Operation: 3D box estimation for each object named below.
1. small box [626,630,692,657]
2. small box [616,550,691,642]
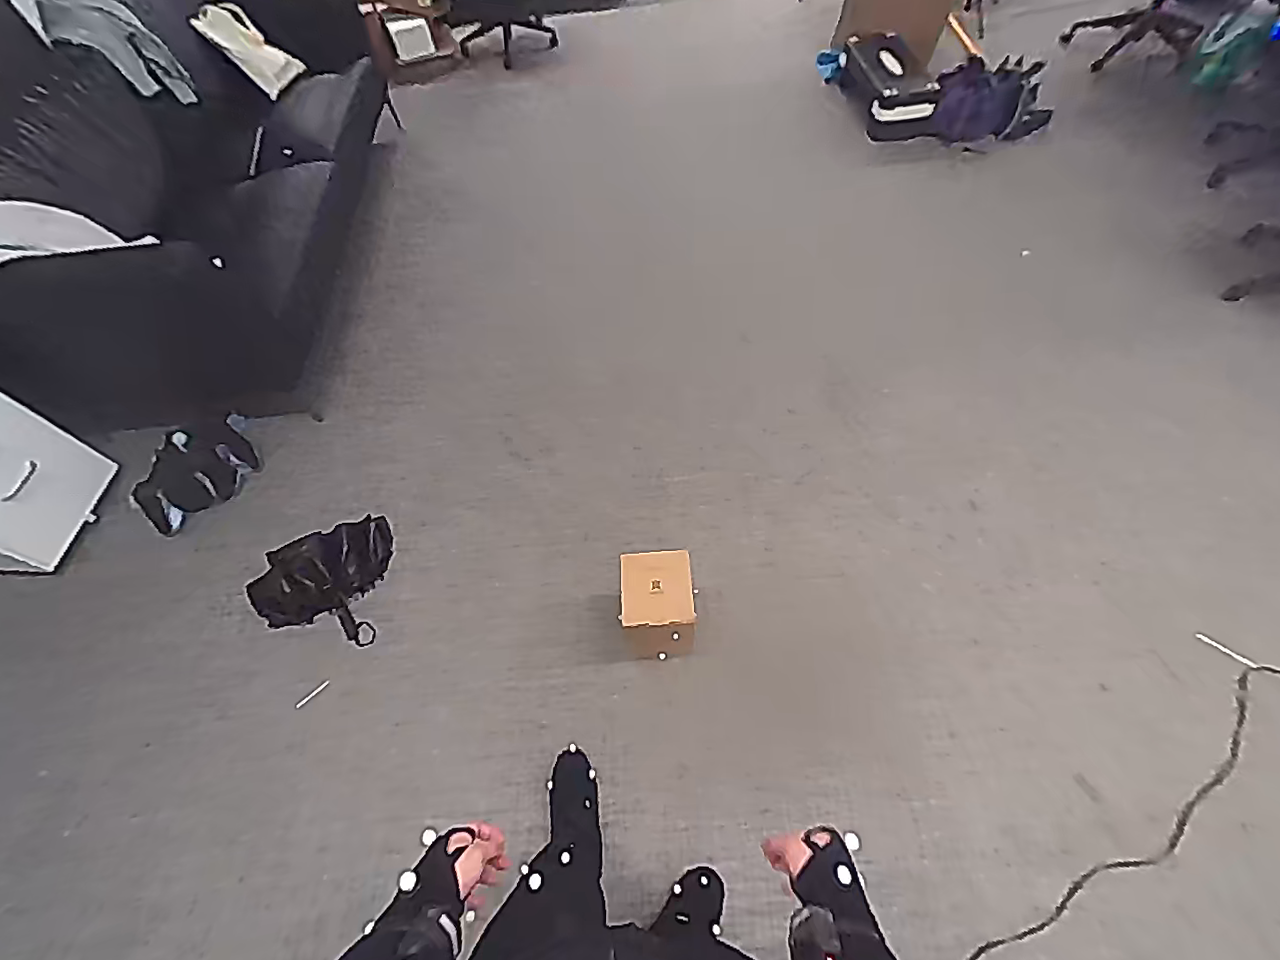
[{"bbox_3d":[0.046,0.359,1.437,0.168,0.176,0.179,-6,61,1],"label":"small box"},{"bbox_3d":[0.034,0.284,1.295,0.168,0.176,0.179,-4,59,1],"label":"small box"}]
